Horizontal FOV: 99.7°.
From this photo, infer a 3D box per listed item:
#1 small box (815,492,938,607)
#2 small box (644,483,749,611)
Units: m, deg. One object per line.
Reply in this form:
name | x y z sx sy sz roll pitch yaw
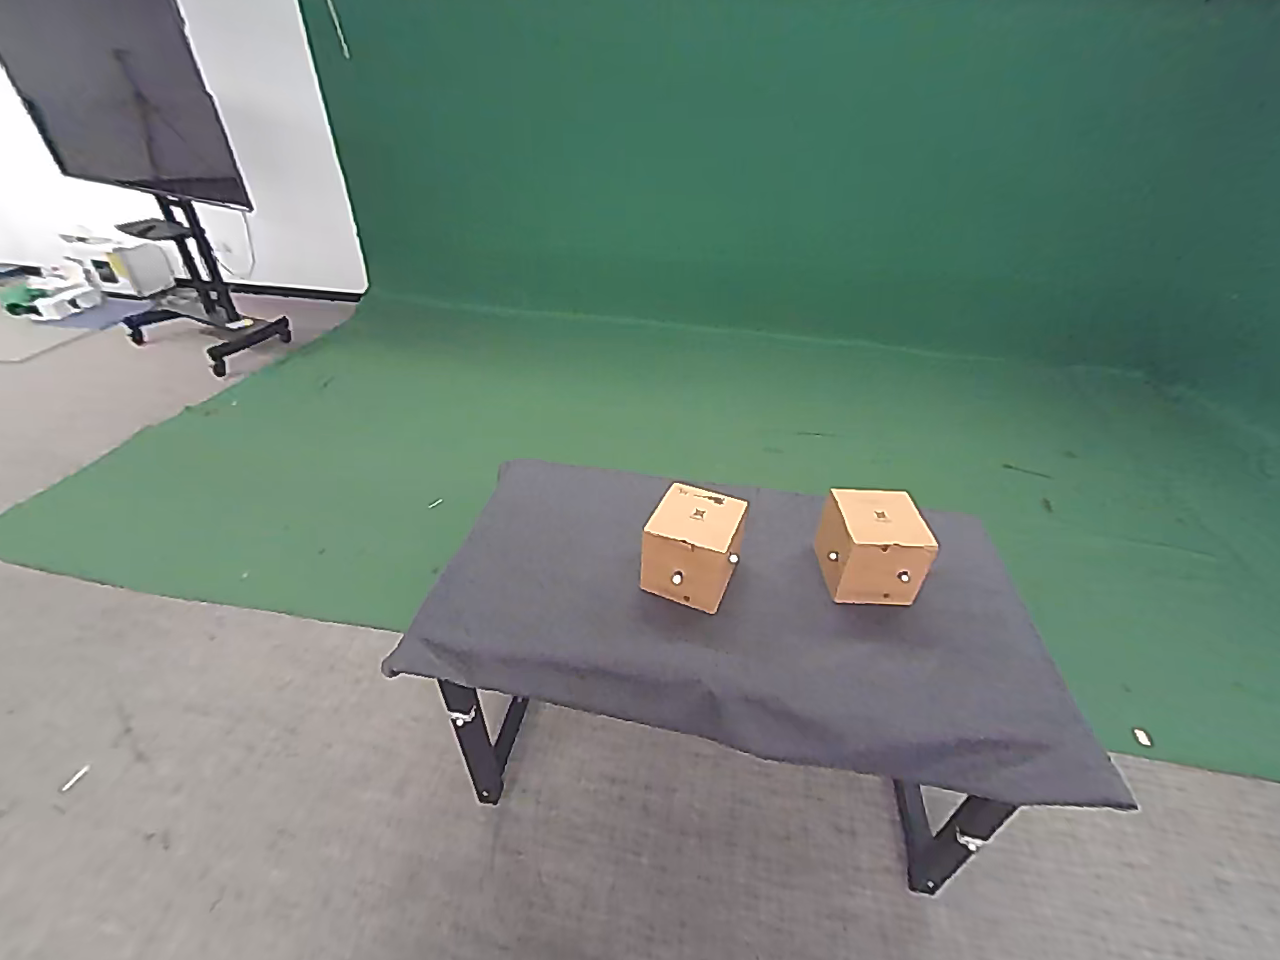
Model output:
small box | 0.486 0.147 1.140 0.168 0.176 0.179 4 35 -1
small box | 0.115 0.139 1.123 0.168 0.176 0.179 17 39 18
